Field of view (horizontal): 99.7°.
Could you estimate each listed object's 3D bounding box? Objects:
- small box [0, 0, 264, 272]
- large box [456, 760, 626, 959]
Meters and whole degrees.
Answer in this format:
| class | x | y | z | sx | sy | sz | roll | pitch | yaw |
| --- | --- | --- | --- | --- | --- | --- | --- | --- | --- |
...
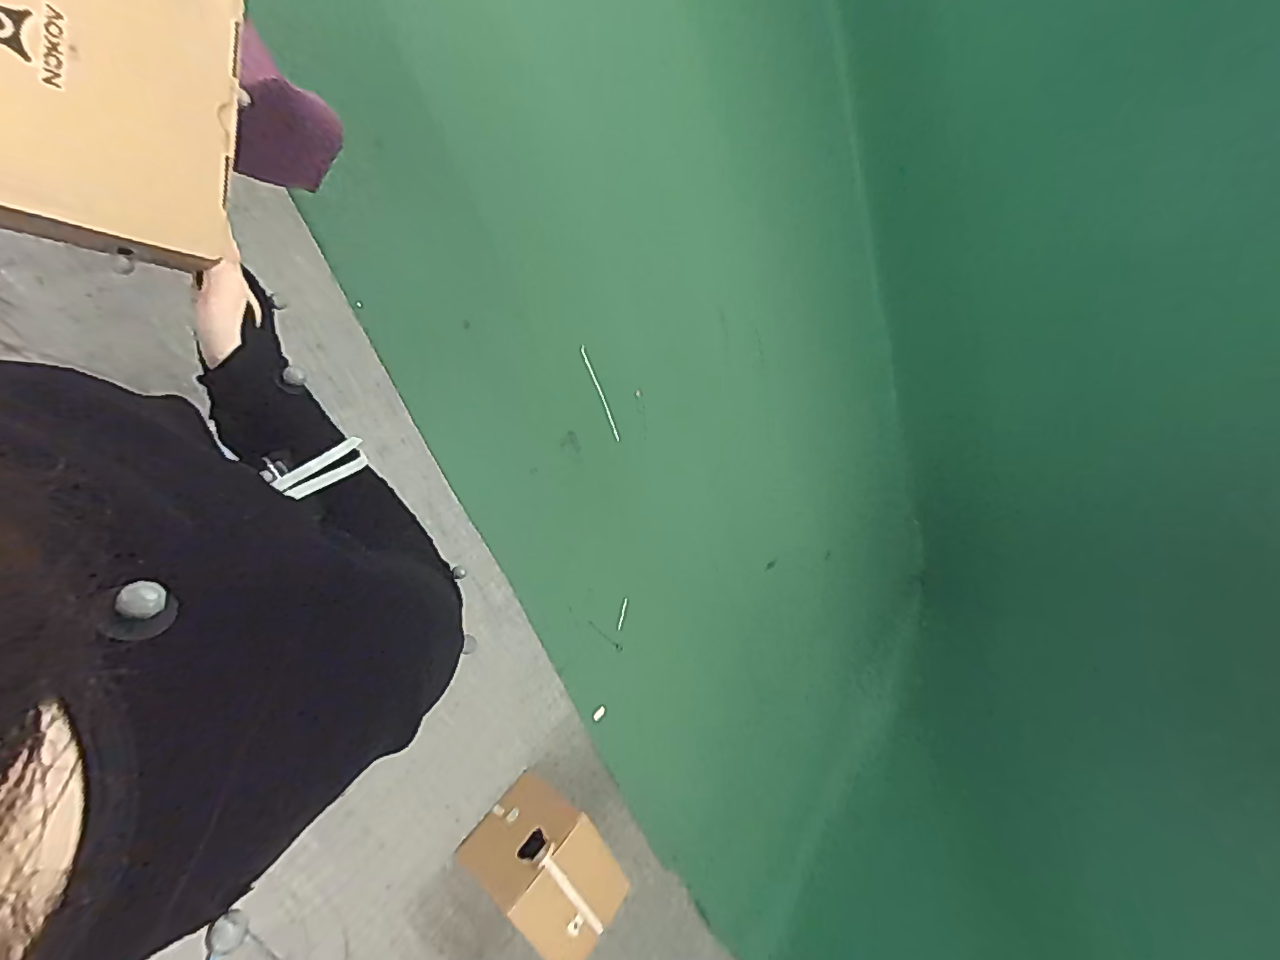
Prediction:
| class | x | y | z | sx | sy | sz | roll | pitch | yaw |
| --- | --- | --- | --- | --- | --- | --- | --- | --- | --- |
| small box | -0.352 | -0.233 | 0.320 | 0.179 | 0.176 | 0.168 | 3 | 101 | -45 |
| large box | -0.313 | 1.204 | 1.746 | 0.320 | 0.320 | 0.408 | -41 | 121 | -35 |
